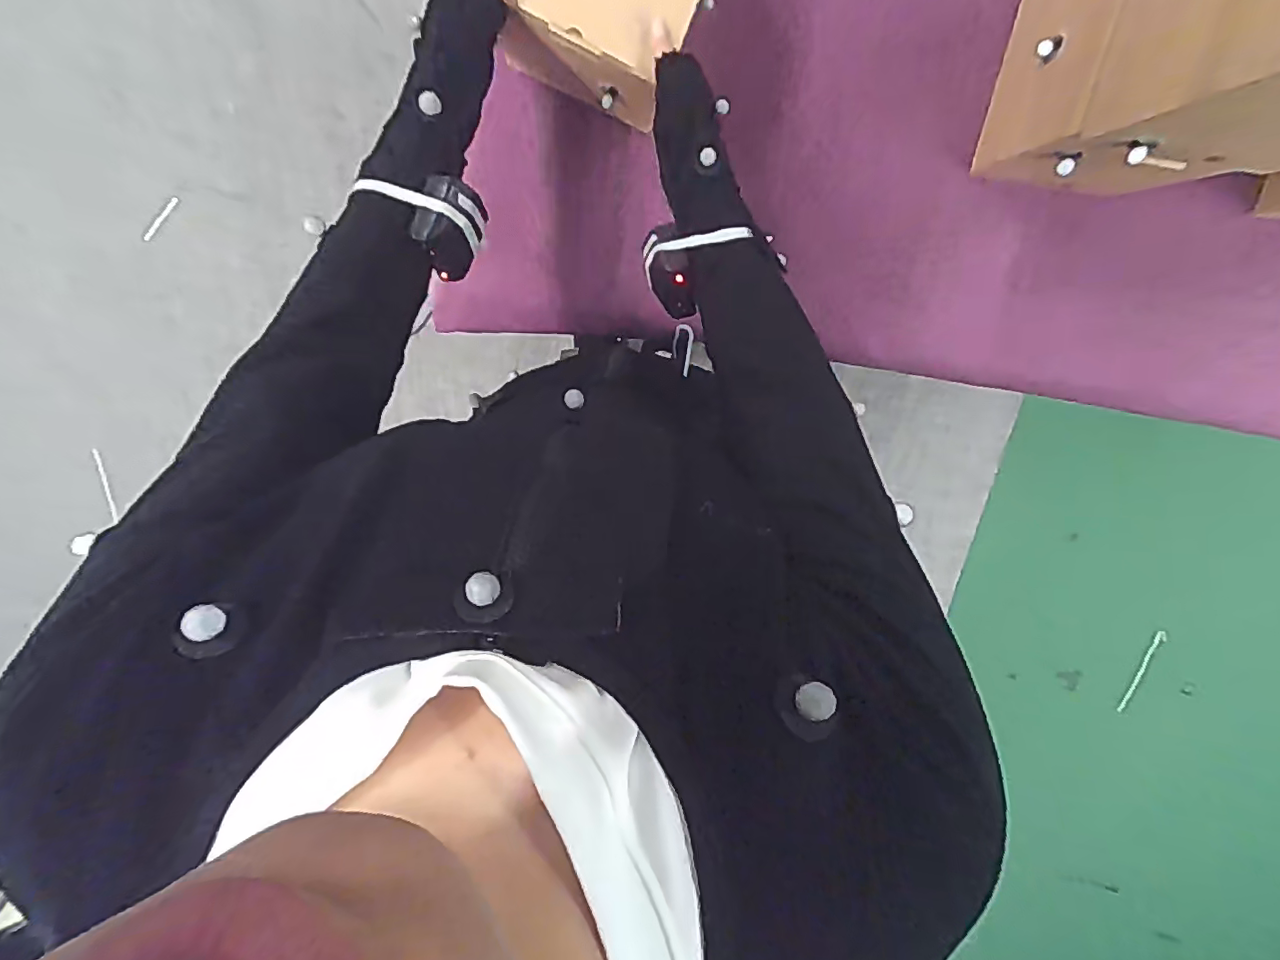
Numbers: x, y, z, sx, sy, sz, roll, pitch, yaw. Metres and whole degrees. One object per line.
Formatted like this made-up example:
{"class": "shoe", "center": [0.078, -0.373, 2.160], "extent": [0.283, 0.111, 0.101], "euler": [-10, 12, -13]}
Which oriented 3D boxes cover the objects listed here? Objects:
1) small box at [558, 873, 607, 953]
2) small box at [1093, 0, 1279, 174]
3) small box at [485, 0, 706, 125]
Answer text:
{"class": "small box", "center": [-0.206, 1.564, 1.960], "extent": [0.168, 0.176, 0.179], "euler": [0, 111, -1]}
{"class": "small box", "center": [0.459, -0.321, 0.356], "extent": [0.168, 0.176, 0.179], "euler": [7, 108, -2]}
{"class": "small box", "center": [-0.021, -0.448, 0.468], "extent": [0.168, 0.176, 0.179], "euler": [20, 108, -12]}
